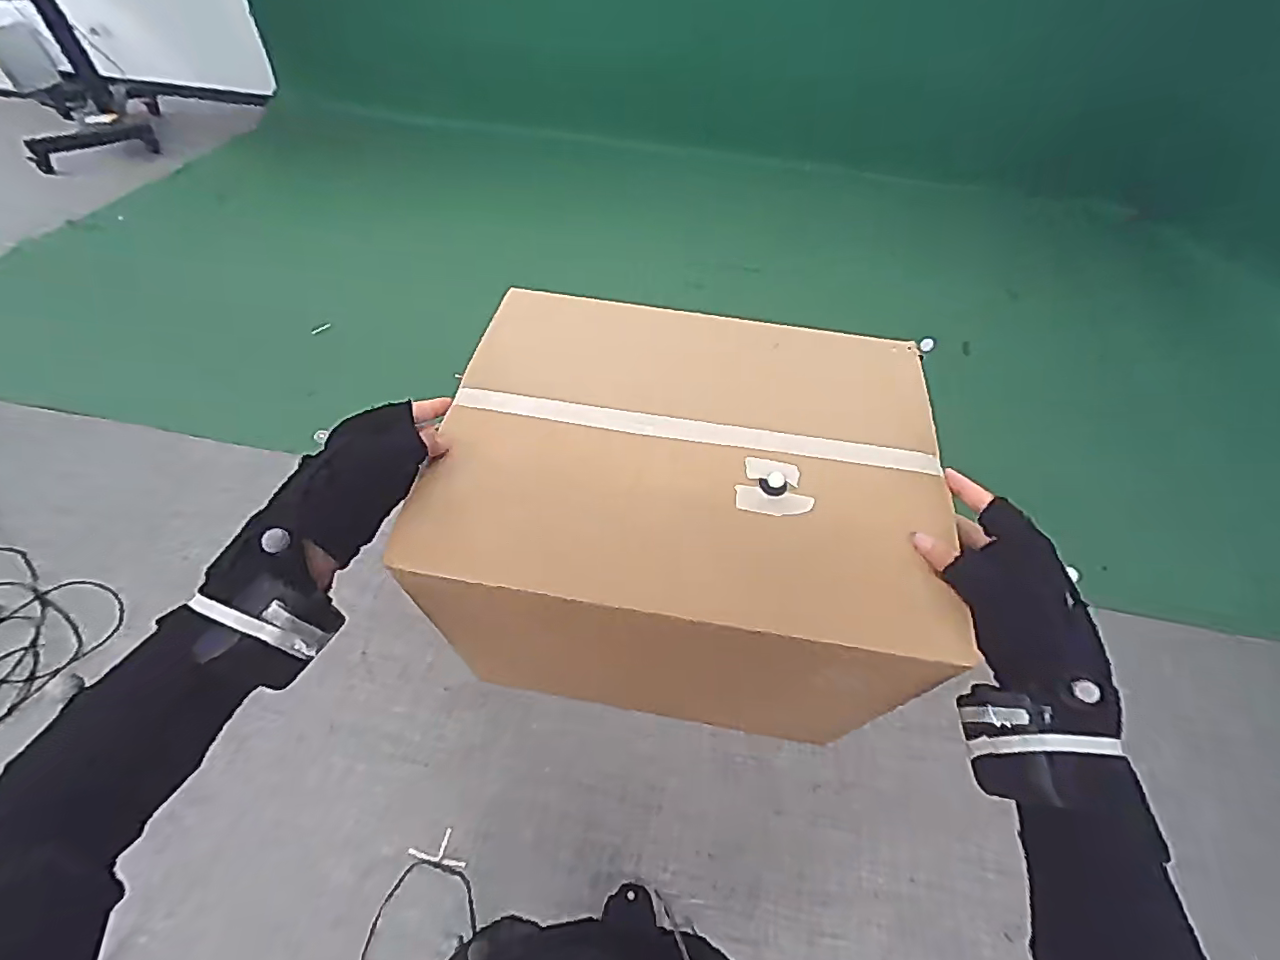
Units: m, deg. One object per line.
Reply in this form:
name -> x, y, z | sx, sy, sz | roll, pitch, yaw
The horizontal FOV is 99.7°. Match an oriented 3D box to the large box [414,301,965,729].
large box -> 0.042, 0.050, 0.586 | 0.408, 0.320, 0.320 | 9, 56, 3
